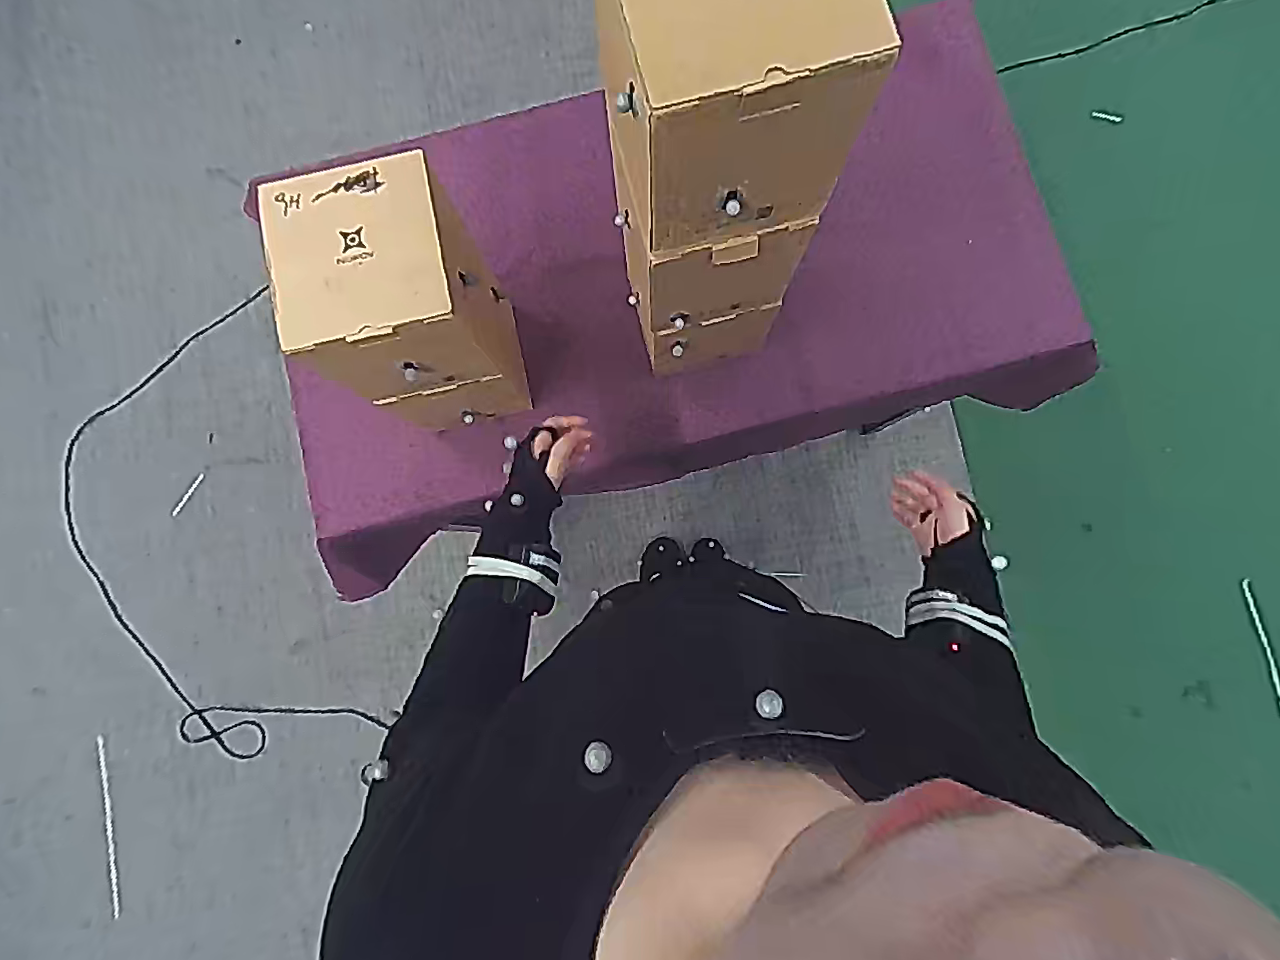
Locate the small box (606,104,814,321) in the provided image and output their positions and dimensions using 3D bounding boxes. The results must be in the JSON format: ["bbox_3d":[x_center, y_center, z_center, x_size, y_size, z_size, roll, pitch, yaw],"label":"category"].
[{"bbox_3d":[0.068,-0.292,0.591,0.168,0.176,0.179,-14,81,0],"label":"small box"}]

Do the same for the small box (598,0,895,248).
[{"bbox_3d":[0.064,-0.323,0.431,0.168,0.176,0.179,-15,83,-1],"label":"small box"}]

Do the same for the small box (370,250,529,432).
[{"bbox_3d":[-0.264,-0.181,0.751,0.168,0.176,0.179,-13,83,0],"label":"small box"}]

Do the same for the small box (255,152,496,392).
[{"bbox_3d":[-0.269,-0.205,0.588,0.168,0.176,0.179,-13,83,-1],"label":"small box"}]
